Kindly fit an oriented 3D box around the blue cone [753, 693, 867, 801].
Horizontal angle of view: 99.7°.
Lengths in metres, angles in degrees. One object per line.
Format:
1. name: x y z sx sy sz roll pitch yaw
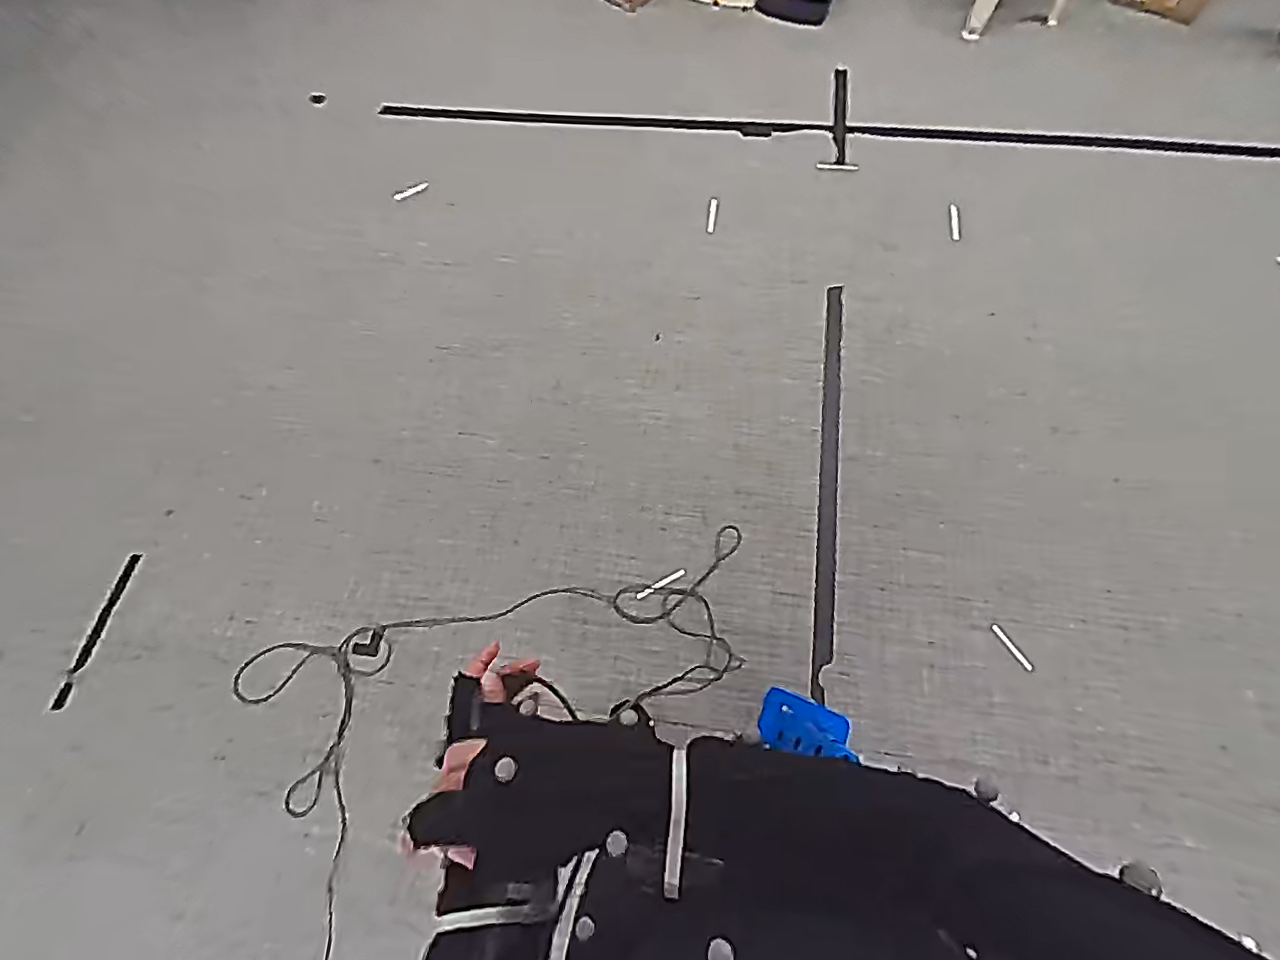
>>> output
1. blue cone: 0.362 0.548 1.088 0.192 0.380 0.193 22 71 10
